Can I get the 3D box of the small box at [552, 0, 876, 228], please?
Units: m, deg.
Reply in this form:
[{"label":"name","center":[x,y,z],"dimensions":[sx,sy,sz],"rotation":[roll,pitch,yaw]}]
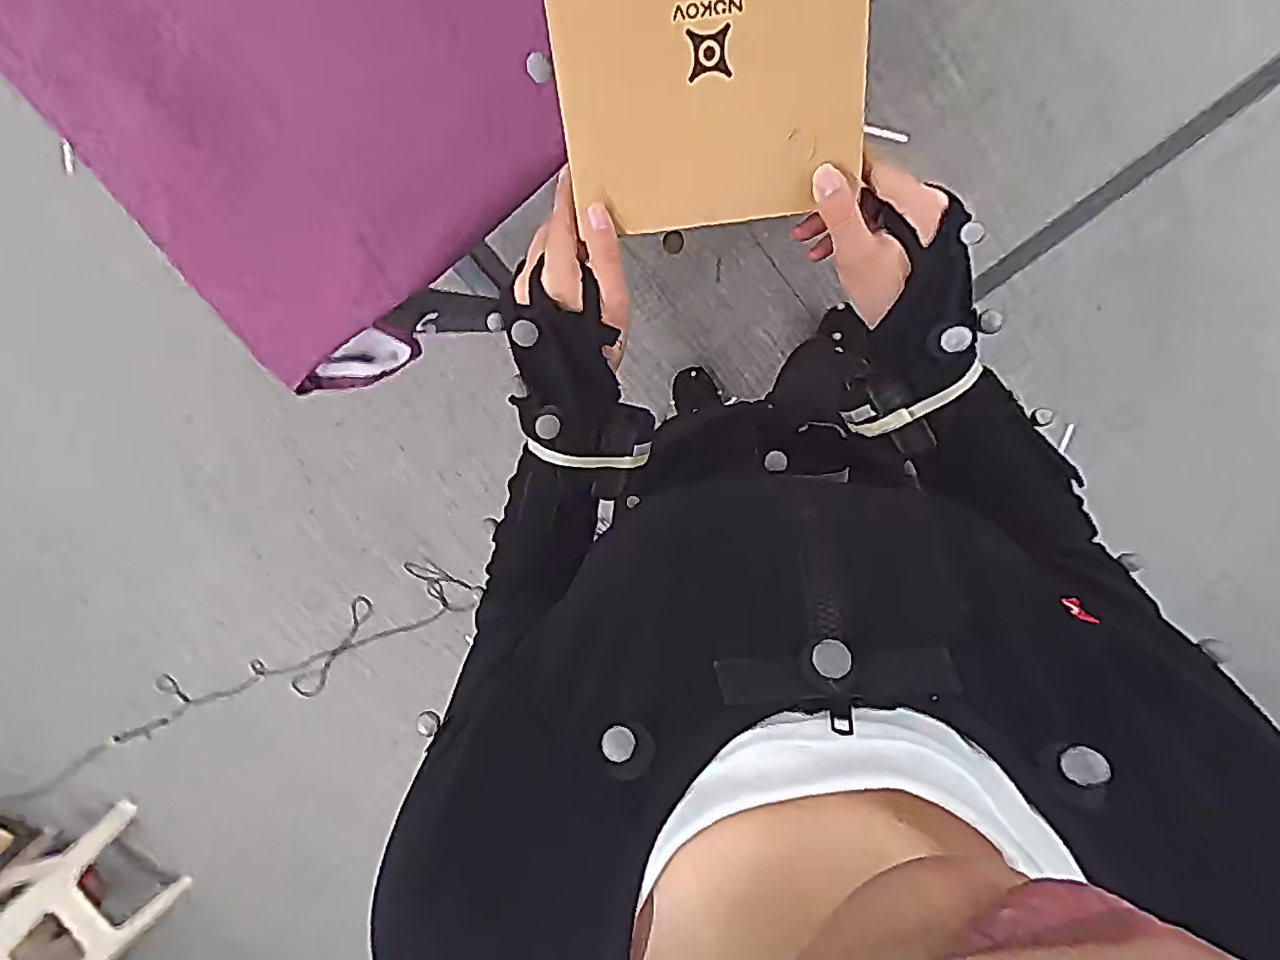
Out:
[{"label":"small box","center":[0.039,-0.268,0.350],"dimensions":[0.168,0.176,0.179],"rotation":[-6,114,2]}]
